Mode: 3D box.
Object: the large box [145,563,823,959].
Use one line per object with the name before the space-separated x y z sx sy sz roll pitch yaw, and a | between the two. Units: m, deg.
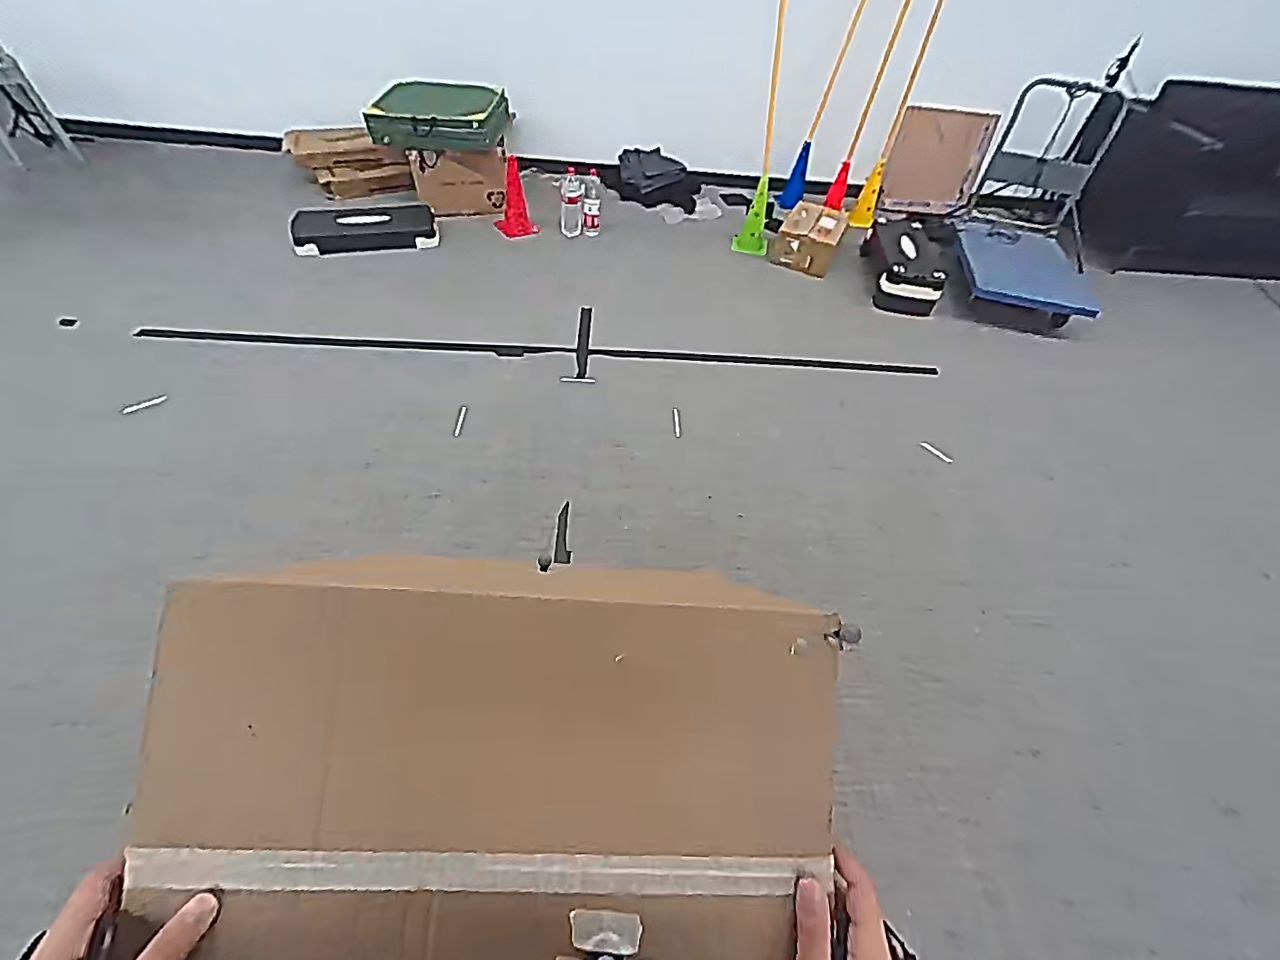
large box | -0.097 0.240 0.478 0.408 0.320 0.320 4 86 -6
